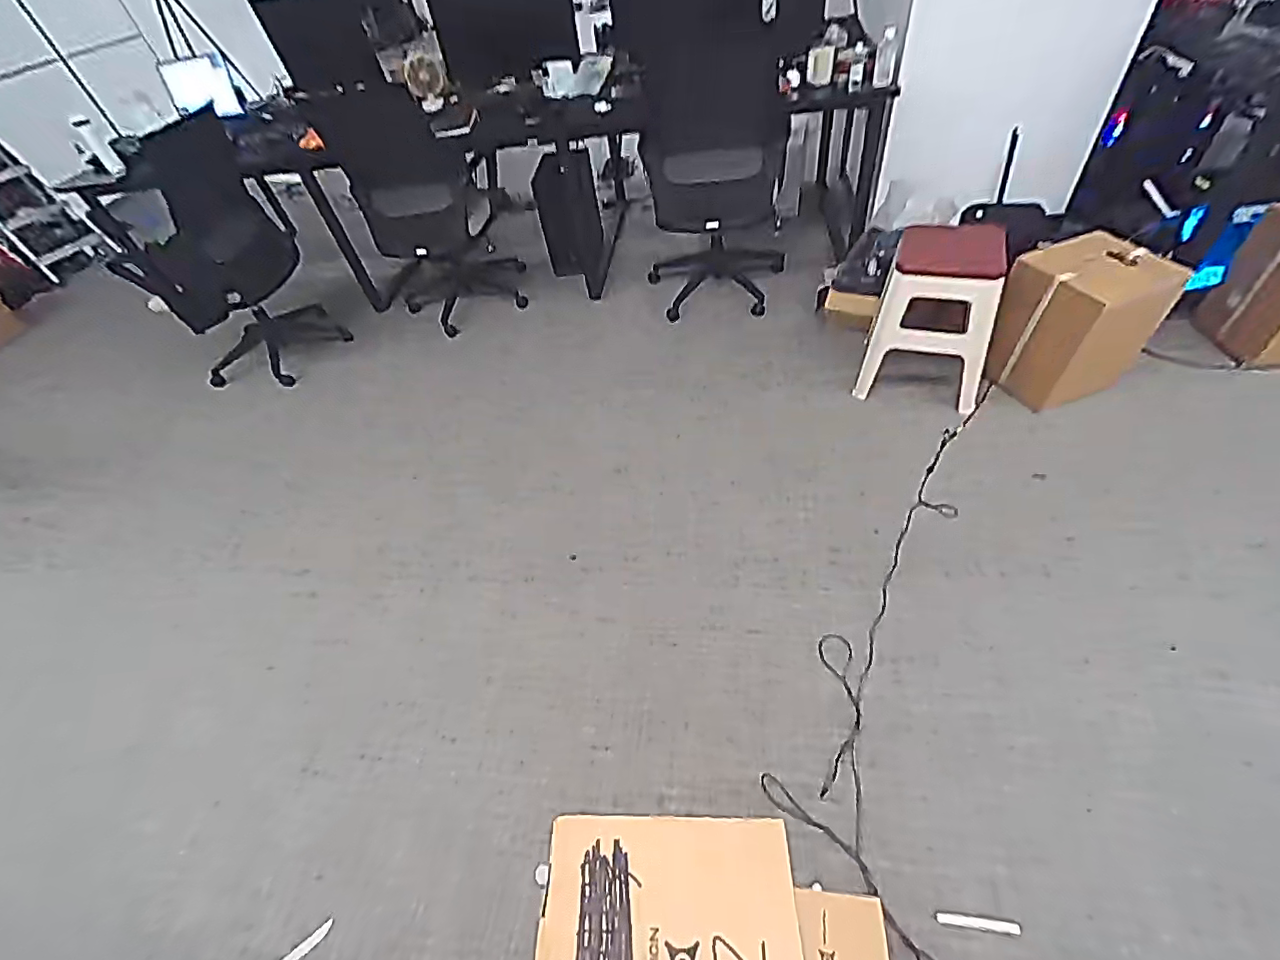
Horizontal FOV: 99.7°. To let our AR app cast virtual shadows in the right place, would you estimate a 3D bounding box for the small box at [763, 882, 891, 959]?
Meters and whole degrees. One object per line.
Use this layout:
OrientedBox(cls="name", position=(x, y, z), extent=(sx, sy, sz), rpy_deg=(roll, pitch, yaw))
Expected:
OrientedBox(cls="small box", position=(0.265, 0.709, 0.783), extent=(0.168, 0.176, 0.179), rpy_deg=(0, 48, 10))
